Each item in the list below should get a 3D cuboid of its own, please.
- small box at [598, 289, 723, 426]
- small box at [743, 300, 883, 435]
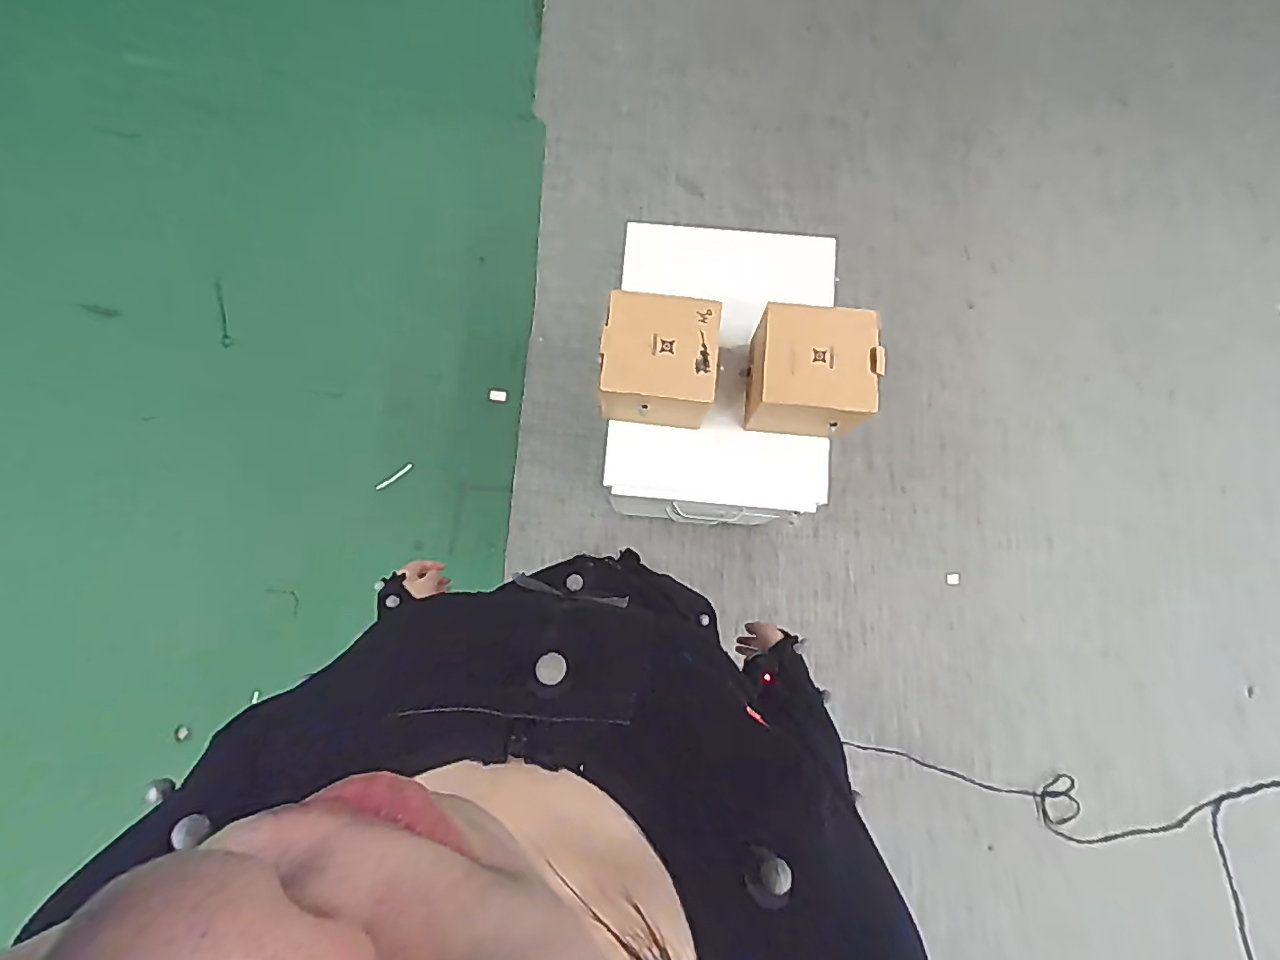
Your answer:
[{"bbox_3d":[0.031,-0.193,0.892,0.179,0.176,0.168,6,82,-1],"label":"small box"},{"bbox_3d":[0.277,-0.175,0.894,0.179,0.176,0.168,6,81,2],"label":"small box"}]
